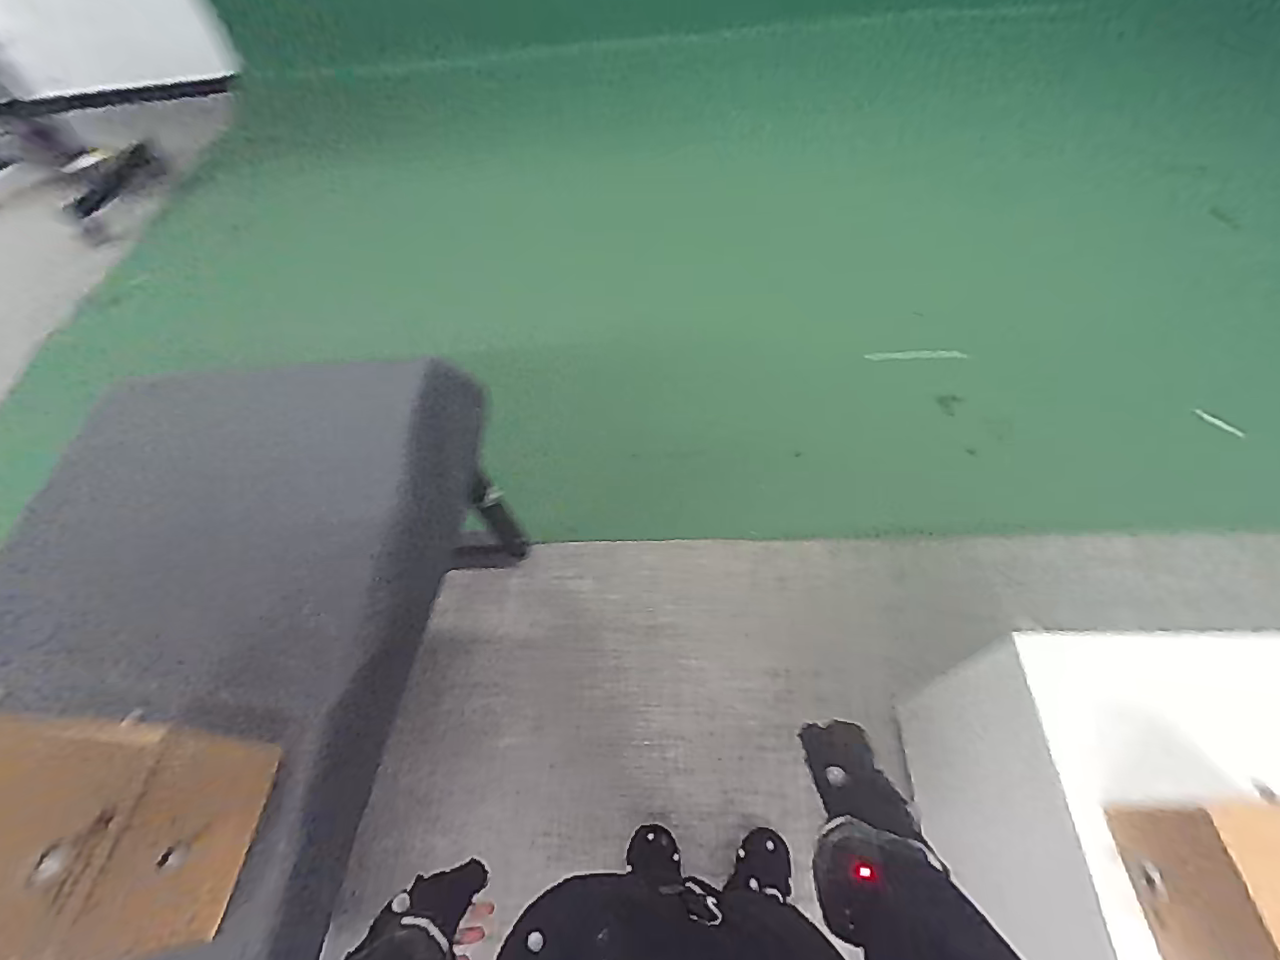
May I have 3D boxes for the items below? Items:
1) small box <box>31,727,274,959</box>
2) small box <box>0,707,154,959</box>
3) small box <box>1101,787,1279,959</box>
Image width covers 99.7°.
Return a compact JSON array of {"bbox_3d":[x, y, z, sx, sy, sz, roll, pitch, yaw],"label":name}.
[{"bbox_3d":[-0.515,0.347,0.538,0.168,0.176,0.179,-1,60,8],"label":"small box"},{"bbox_3d":[-0.540,0.261,0.399,0.179,0.176,0.168,-2,58,9],"label":"small box"},{"bbox_3d":[0.621,0.397,0.527,0.179,0.176,0.168,-7,58,5],"label":"small box"}]
